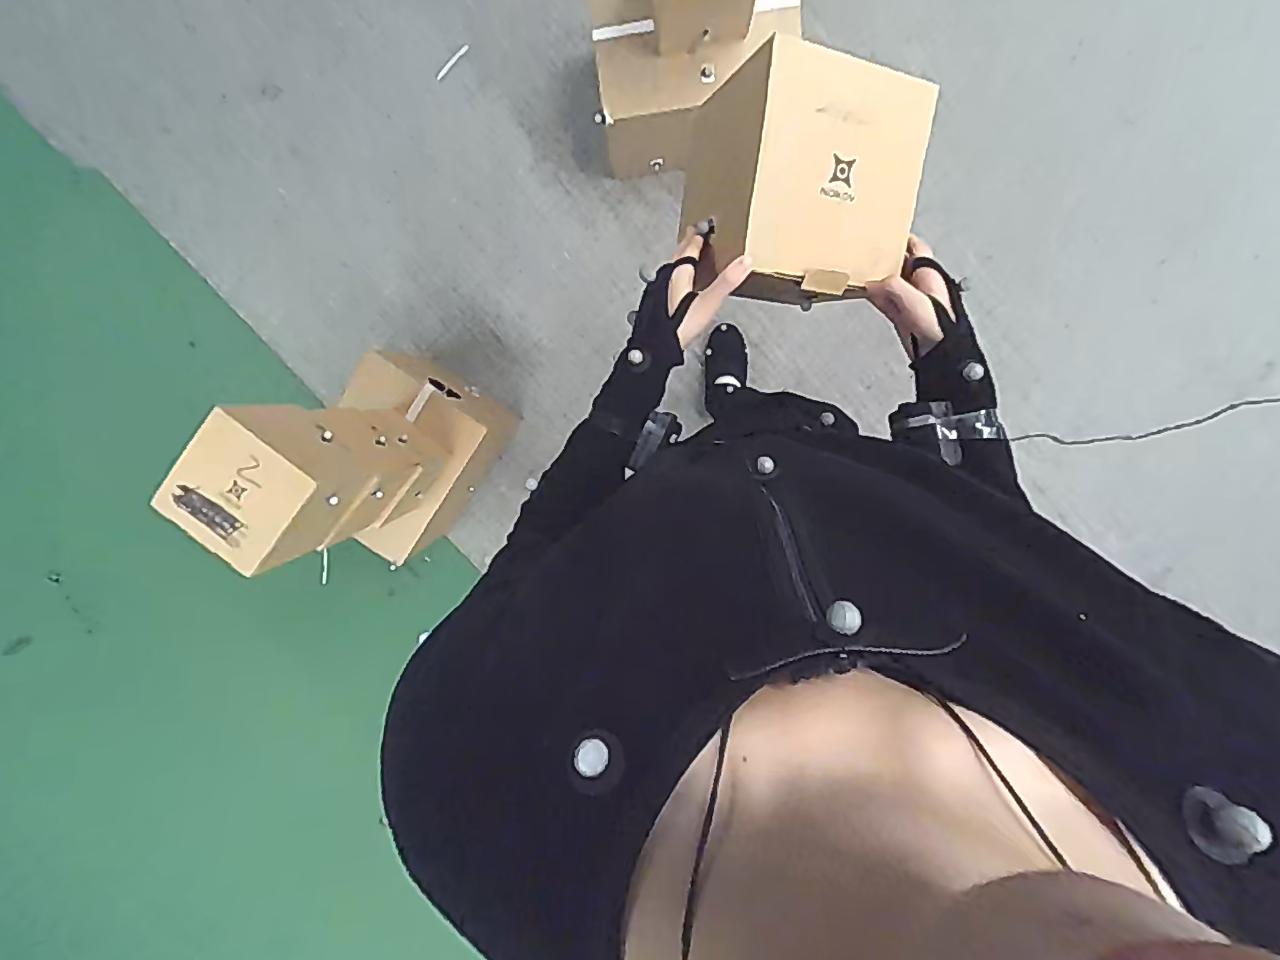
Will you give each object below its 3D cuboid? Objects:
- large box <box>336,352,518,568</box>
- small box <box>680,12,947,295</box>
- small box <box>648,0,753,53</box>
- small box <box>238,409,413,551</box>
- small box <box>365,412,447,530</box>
[{"bbox_3d":[-0.567,-0.066,1.361,0.320,0.320,0.408,34,100,-3],"label":"large box"},{"bbox_3d":[0.149,-0.283,0.522,0.168,0.176,0.179,2,103,-20],"label":"small box"},{"bbox_3d":[0.103,-0.904,0.950,0.179,0.176,0.168,-11,98,3],"label":"small box"},{"bbox_3d":[-0.541,-0.008,0.957,0.168,0.176,0.179,41,98,-5],"label":"small box"},{"bbox_3d":[-0.534,-0.028,1.118,0.179,0.176,0.168,40,98,-5],"label":"small box"}]
